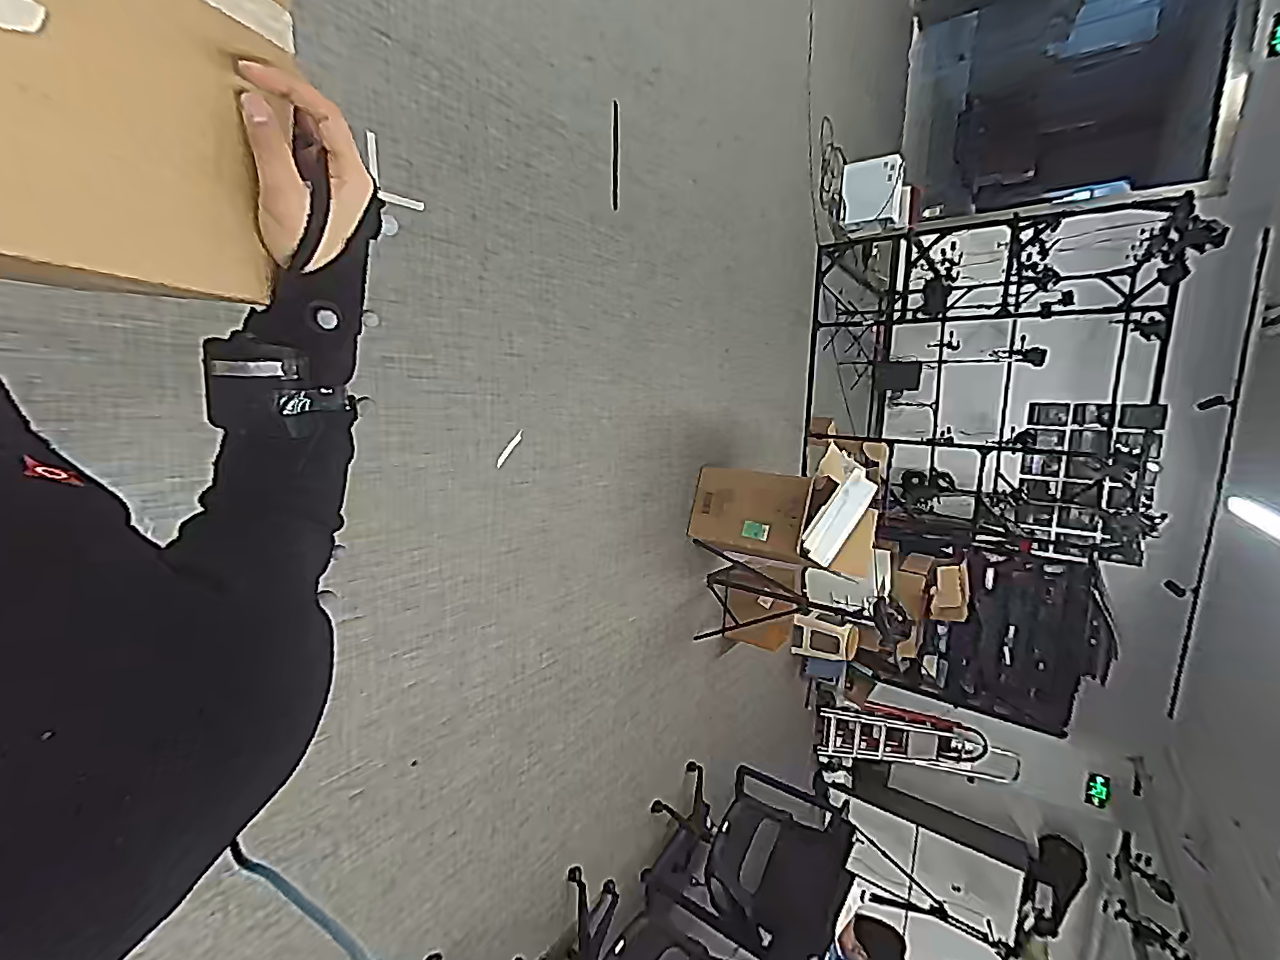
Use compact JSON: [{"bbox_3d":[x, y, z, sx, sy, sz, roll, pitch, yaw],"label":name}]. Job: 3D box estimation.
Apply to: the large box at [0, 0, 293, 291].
[{"bbox_3d":[-0.440,-0.281,0.224,0.408,0.320,0.320,-10,111,-62],"label":"large box"}]
